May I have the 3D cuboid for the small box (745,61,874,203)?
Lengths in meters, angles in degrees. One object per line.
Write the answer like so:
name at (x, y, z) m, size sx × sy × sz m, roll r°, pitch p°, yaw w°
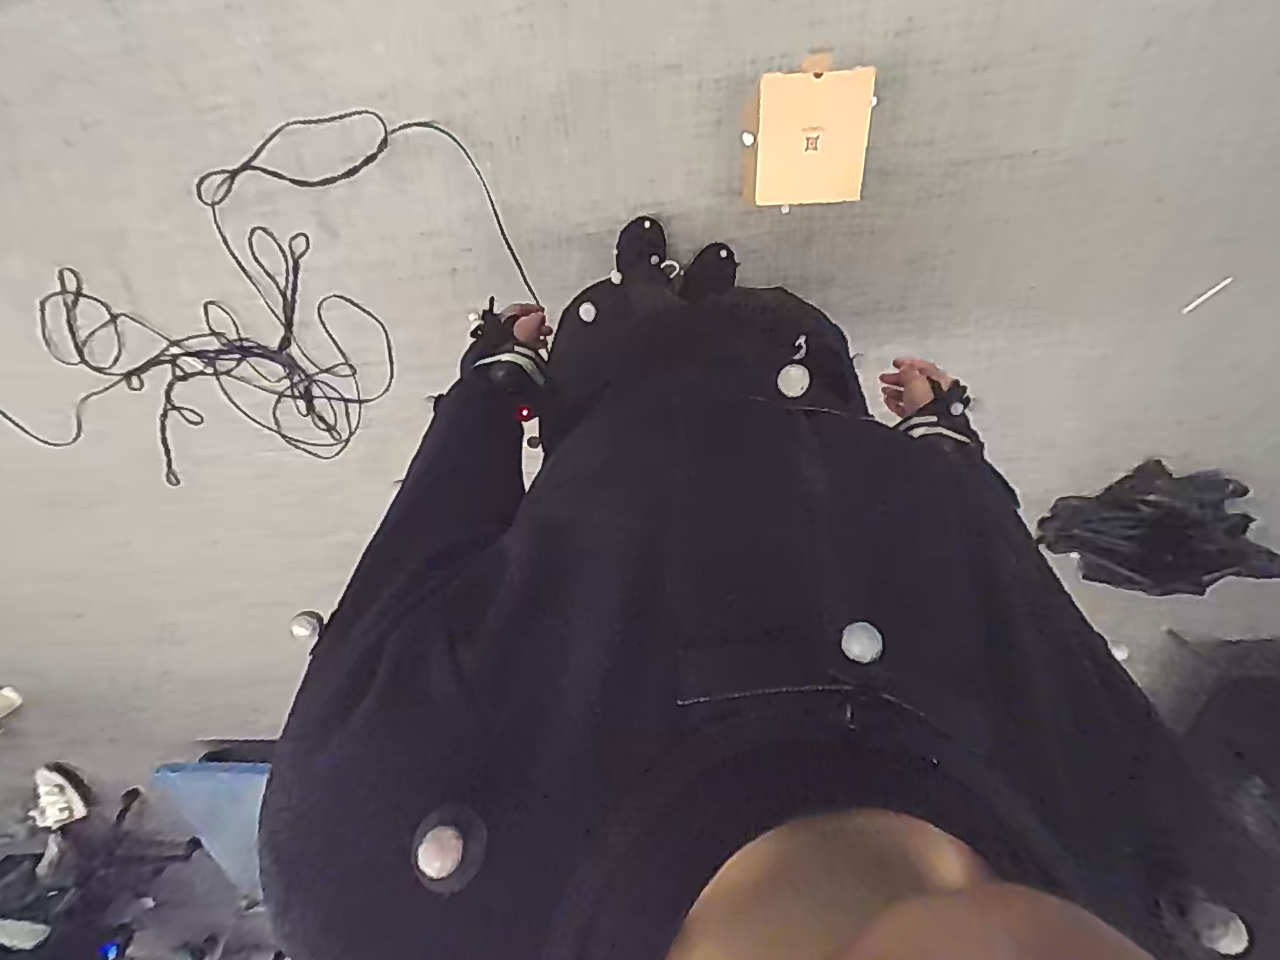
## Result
small box at (0.265, -0.560, 0.889) m, size 0.168 × 0.176 × 0.179 m, roll -1°, pitch 117°, yaw 5°
